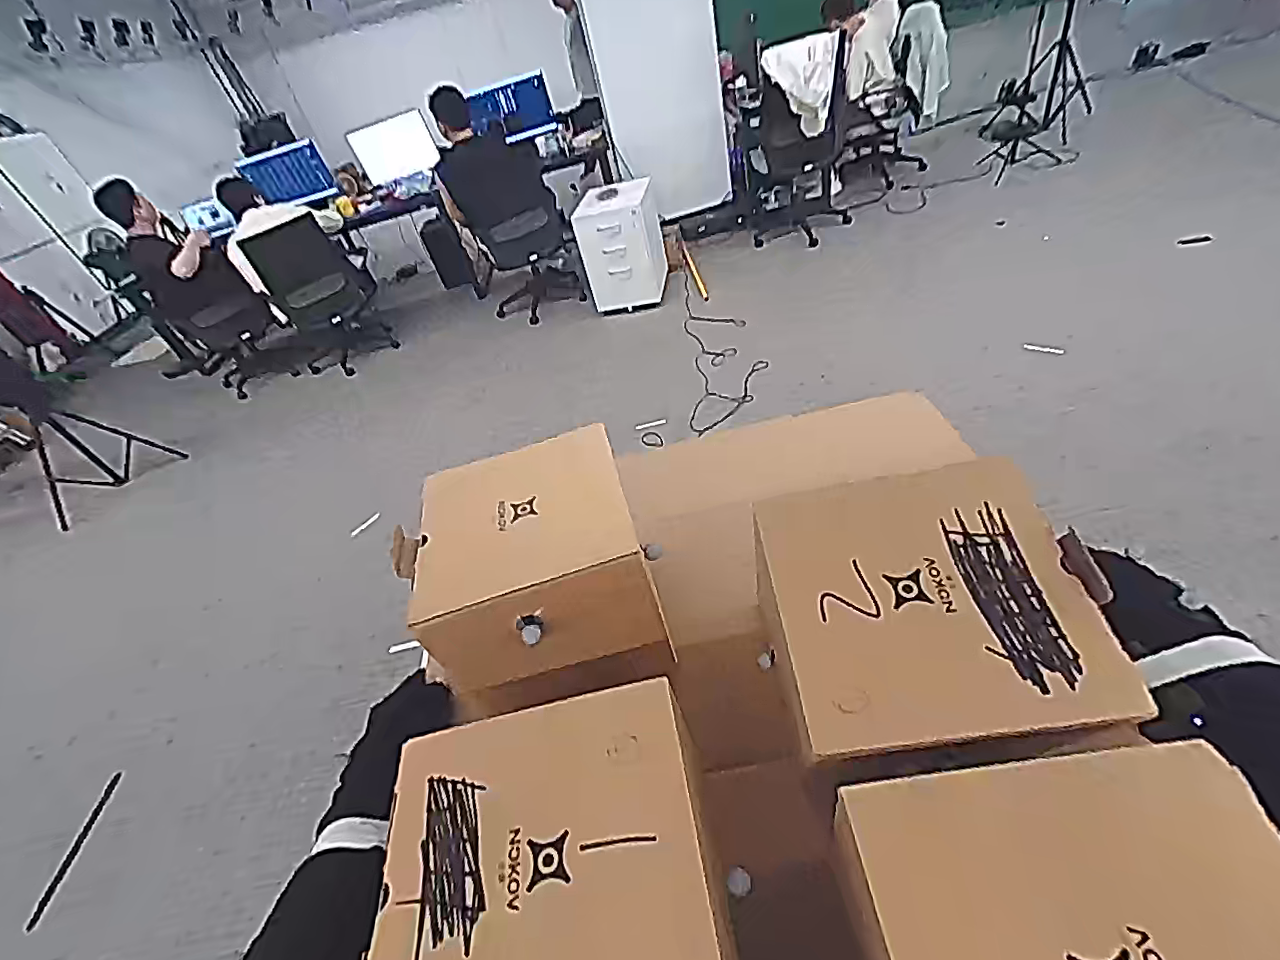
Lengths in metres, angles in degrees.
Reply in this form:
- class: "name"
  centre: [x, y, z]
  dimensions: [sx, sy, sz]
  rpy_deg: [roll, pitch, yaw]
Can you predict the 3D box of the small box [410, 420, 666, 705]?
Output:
- class: "small box"
  centre: [-0.082, 0.078, 0.502]
  dimensions: [0.179, 0.176, 0.168]
  rpy_deg: [-19, 42, 0]
